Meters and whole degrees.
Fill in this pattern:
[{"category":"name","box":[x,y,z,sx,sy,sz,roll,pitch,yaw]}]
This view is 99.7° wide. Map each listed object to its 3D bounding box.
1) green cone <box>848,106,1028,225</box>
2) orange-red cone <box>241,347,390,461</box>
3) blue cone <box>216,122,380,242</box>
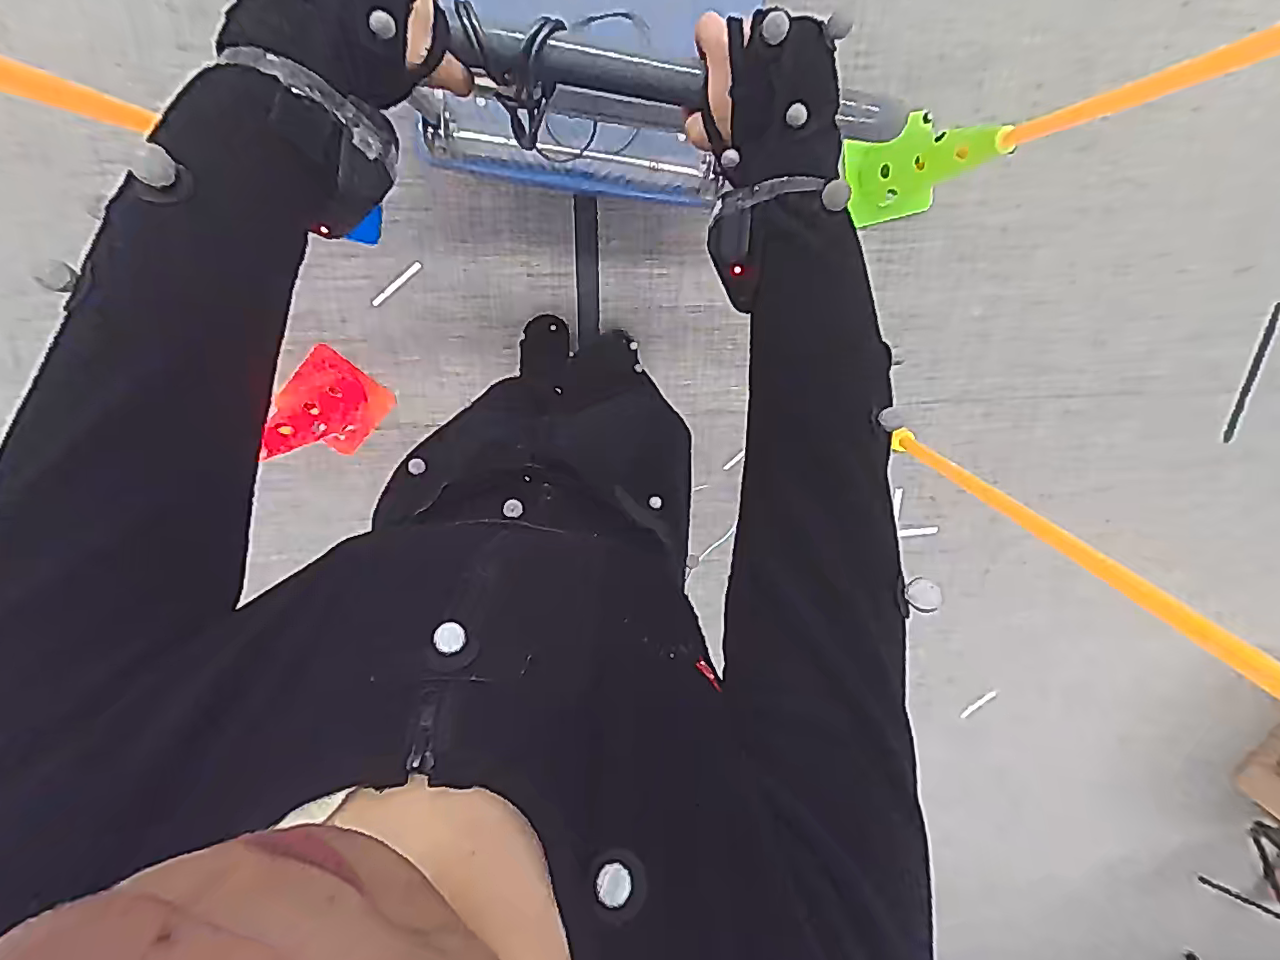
[{"category":"green cone","box":[0.574,-0.615,1.023,0.200,0.368,0.202,-15,114,-1]},{"category":"orange-red cone","box":[-0.676,-0.114,1.069,0.199,0.360,0.198,-44,111,9]},{"category":"blue cone","box":[-0.600,-0.527,0.927,0.193,0.380,0.192,12,111,-12]}]
